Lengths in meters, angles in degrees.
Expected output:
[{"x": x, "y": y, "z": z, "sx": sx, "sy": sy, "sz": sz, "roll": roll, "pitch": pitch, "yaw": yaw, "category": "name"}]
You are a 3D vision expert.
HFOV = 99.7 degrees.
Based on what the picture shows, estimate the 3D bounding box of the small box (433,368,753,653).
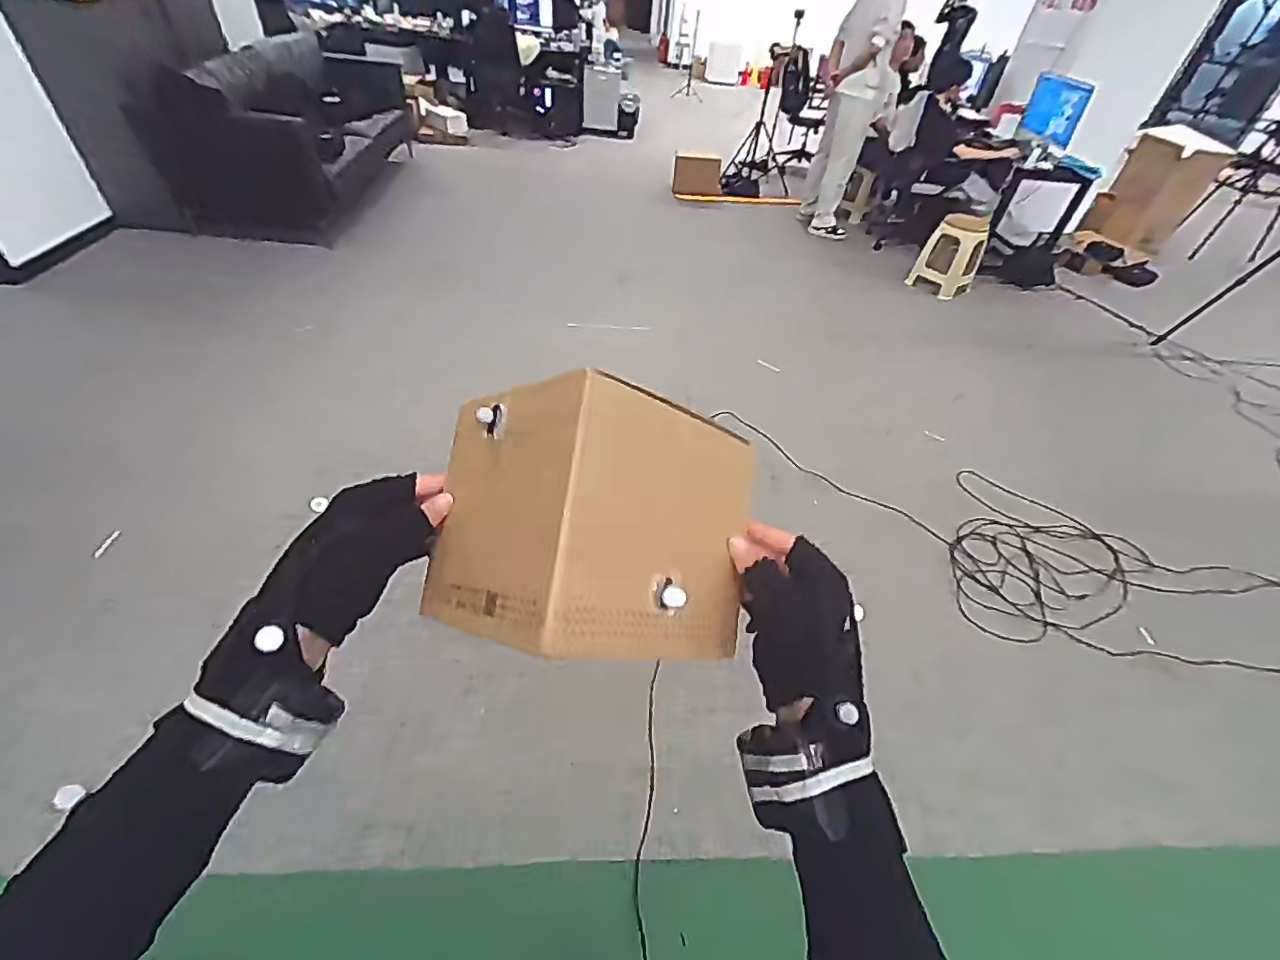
[{"x": -0.035, "y": 0.035, "z": 0.423, "sx": 0.179, "sy": 0.168, "sz": 0.176, "roll": 17, "pitch": 75, "yaw": -41, "category": "small box"}]
